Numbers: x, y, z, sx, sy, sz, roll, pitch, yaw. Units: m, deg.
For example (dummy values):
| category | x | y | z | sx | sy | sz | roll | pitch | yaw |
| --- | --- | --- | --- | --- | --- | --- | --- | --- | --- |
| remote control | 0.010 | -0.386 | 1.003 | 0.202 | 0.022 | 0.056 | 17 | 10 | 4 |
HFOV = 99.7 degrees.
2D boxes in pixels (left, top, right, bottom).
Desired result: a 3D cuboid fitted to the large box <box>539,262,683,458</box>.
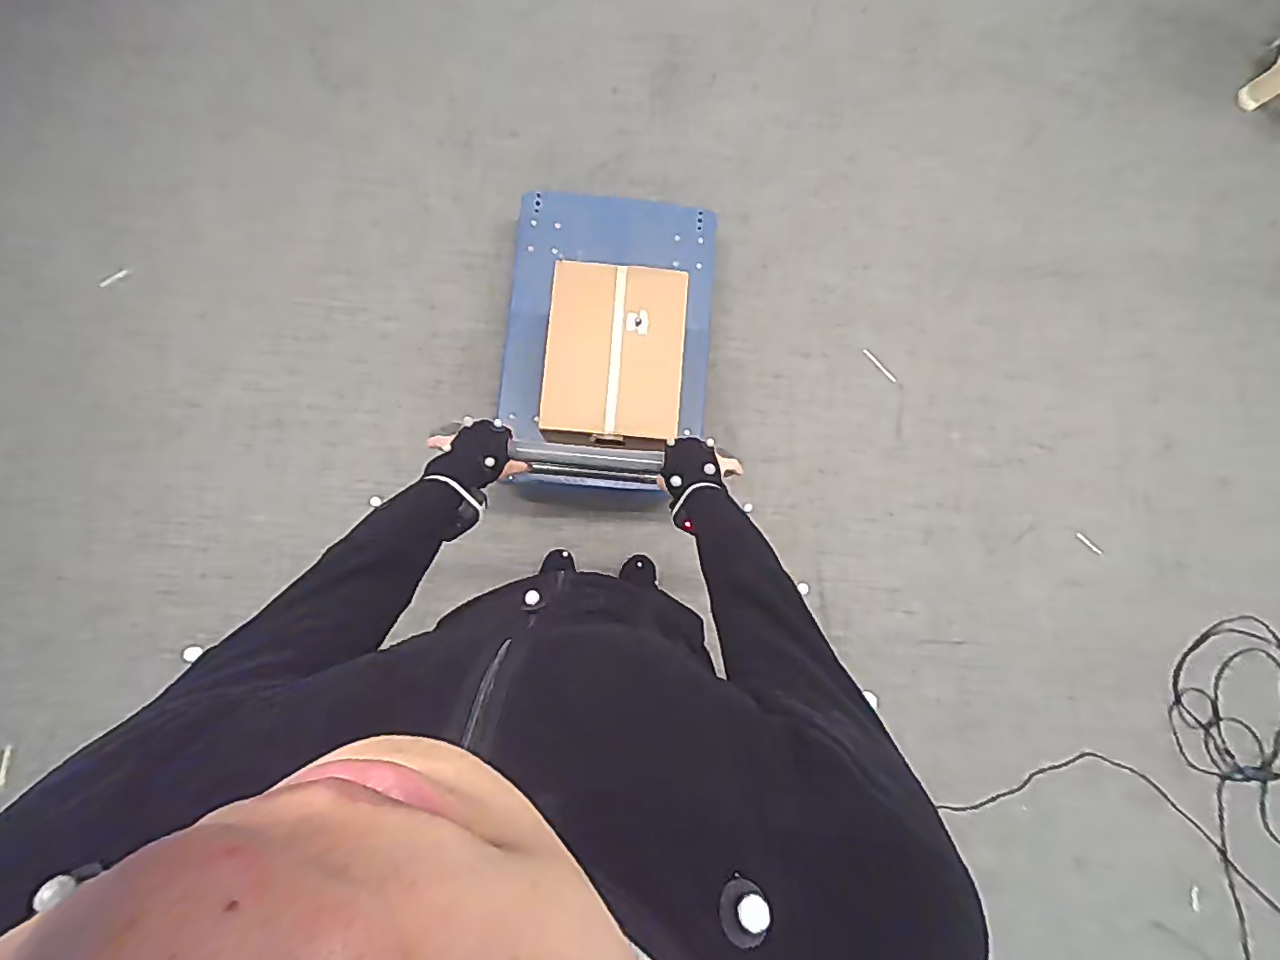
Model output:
| category | x | y | z | sx | sy | sz | roll | pitch | yaw |
| --- | --- | --- | --- | --- | --- | --- | --- | --- | --- |
| large box | -0.070 | -0.281 | 1.379 | 0.320 | 0.320 | 0.408 | 4 | 82 | -4 |
